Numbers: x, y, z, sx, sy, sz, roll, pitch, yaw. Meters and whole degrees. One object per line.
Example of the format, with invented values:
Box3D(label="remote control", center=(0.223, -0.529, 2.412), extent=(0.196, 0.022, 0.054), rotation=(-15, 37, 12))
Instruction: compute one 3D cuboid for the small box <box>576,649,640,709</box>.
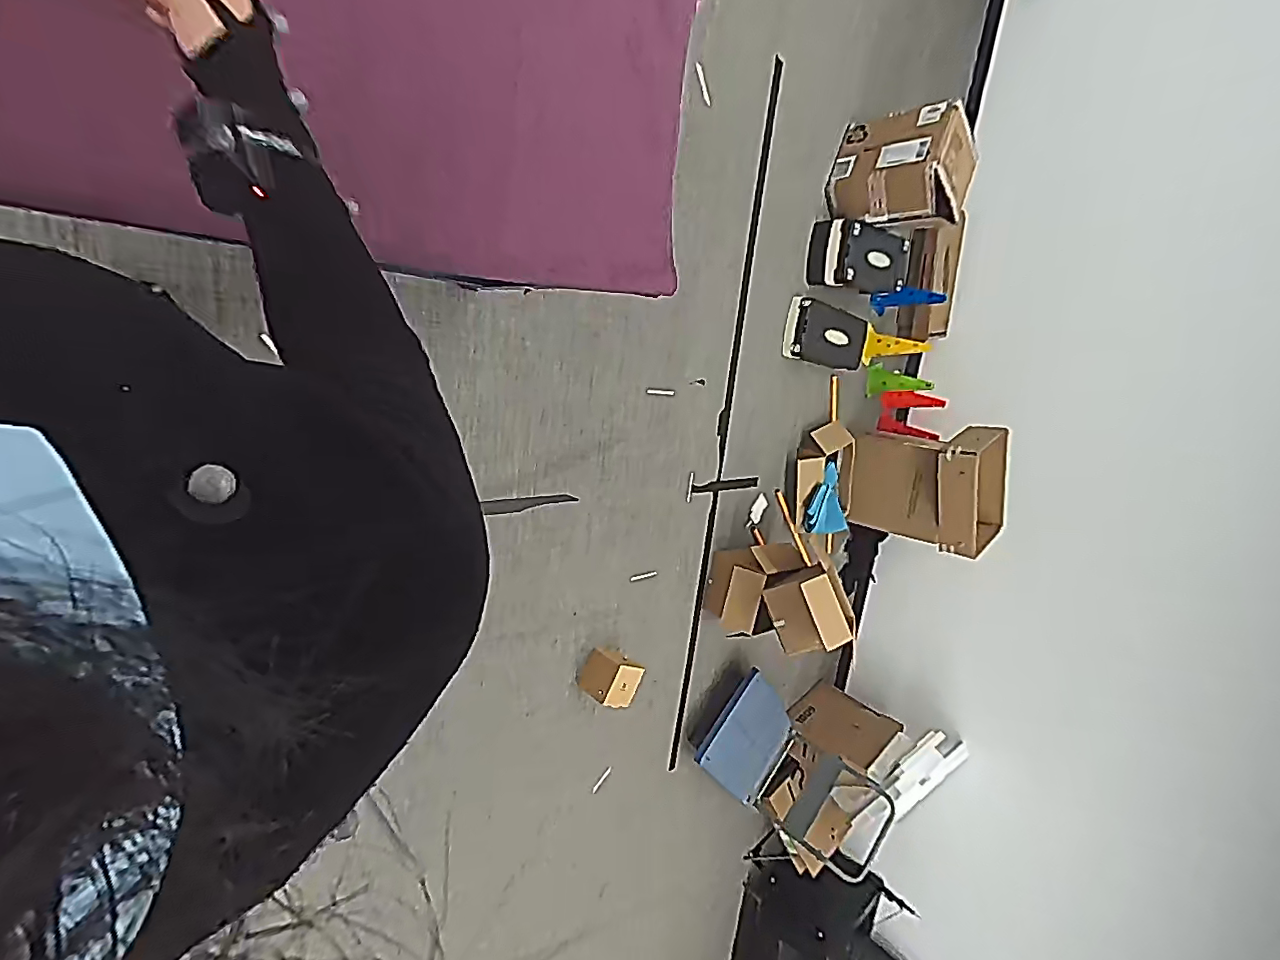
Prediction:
Box3D(label="small box", center=(-0.135, 0.824, 2.245), extent=(0.168, 0.176, 0.179), rotation=(30, 83, -46))
